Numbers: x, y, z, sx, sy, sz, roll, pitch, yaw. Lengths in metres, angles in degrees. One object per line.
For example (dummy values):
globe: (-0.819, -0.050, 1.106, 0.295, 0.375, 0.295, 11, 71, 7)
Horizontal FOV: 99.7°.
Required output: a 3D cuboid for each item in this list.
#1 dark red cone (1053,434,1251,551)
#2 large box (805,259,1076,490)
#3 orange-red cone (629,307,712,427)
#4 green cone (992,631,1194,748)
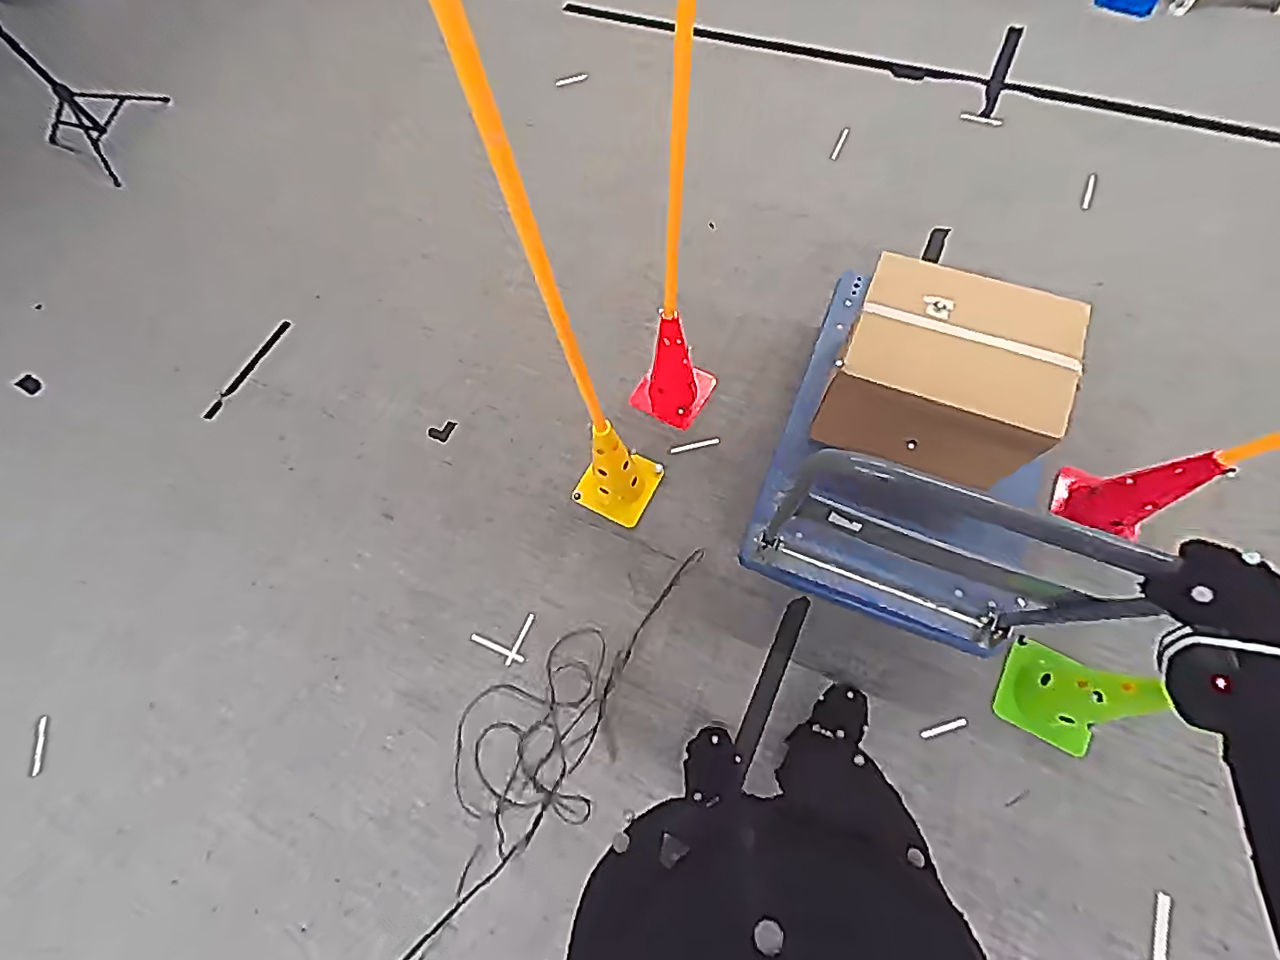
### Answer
dark red cone: (1.137, 0.000, 1.197, 0.201, 0.394, 0.202, 23, 73, 11)
large box: (0.629, -0.218, 1.192, 0.408, 0.320, 0.320, 21, 73, 13)
orange-red cone: (0.080, -0.331, 1.439, 0.198, 0.360, 0.199, 30, 73, 14)
green cone: (0.917, 0.415, 1.075, 0.202, 0.368, 0.200, 26, 73, 13)
